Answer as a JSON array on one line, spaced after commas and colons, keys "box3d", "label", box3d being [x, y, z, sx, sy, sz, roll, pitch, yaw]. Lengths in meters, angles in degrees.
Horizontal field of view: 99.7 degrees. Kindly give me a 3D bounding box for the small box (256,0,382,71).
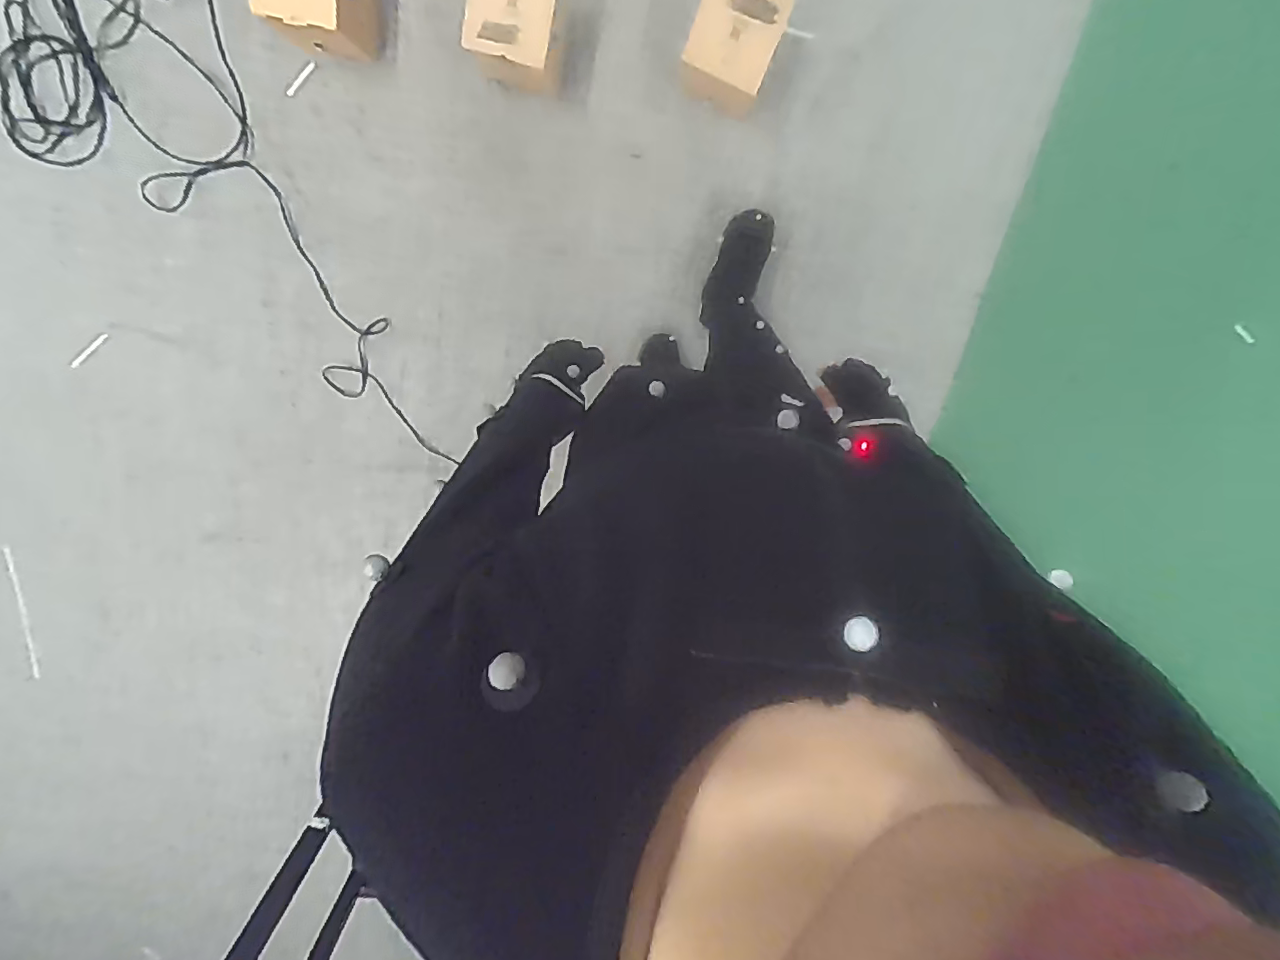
[{"box3d": [-0.640, -0.974, 1.092, 0.168, 0.176, 0.179, 9, 109, -2], "label": "small box"}]
